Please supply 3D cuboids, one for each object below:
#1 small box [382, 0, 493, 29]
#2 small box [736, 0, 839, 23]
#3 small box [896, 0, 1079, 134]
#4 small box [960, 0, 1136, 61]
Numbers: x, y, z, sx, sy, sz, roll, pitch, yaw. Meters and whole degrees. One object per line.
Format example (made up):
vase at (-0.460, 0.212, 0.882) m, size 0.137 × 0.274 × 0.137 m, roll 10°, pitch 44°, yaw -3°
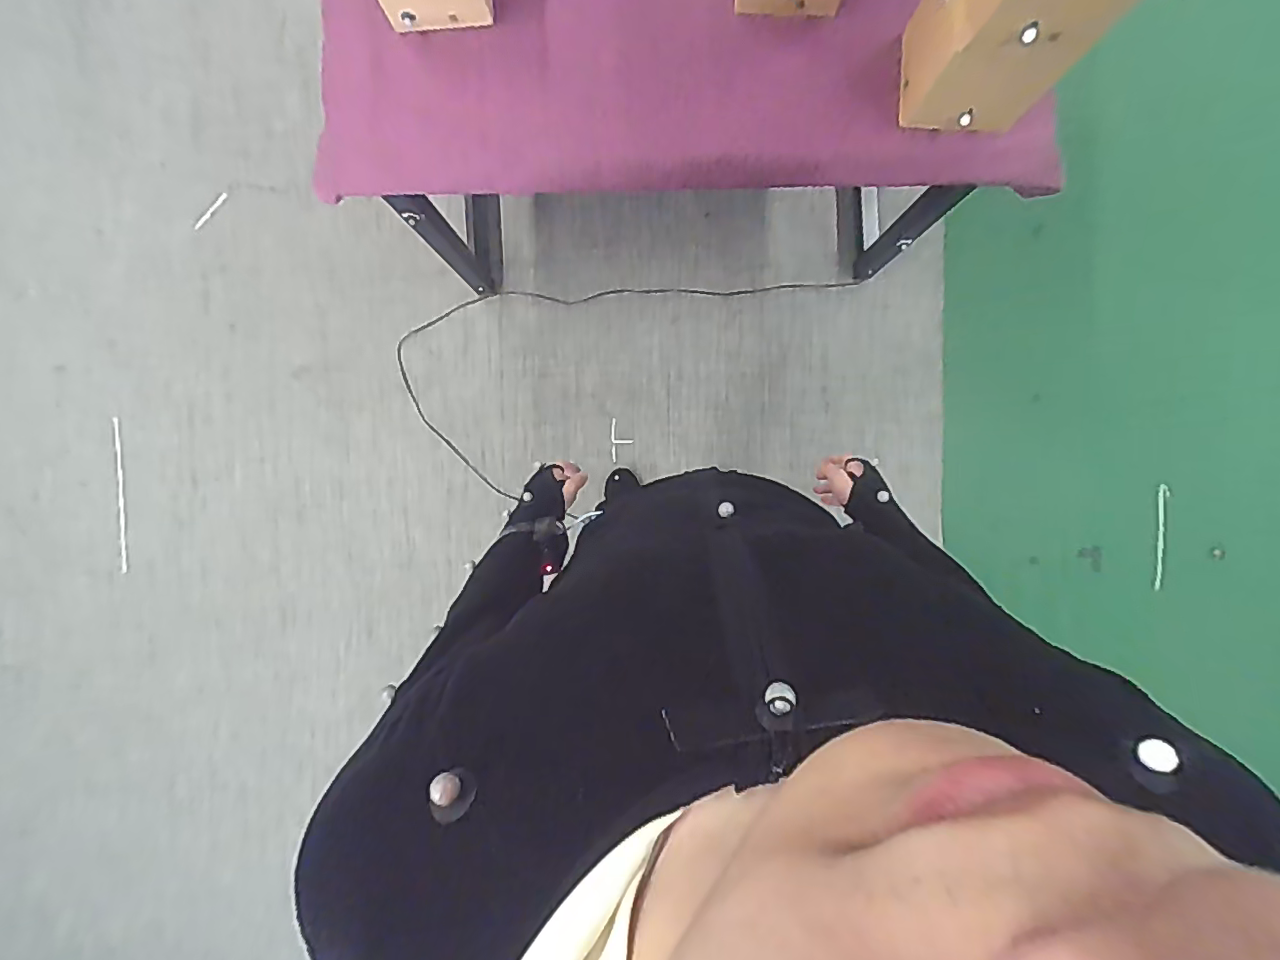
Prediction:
small box at (-0.328, -0.830, 0.820) m, size 0.168 × 0.176 × 0.179 m, roll -4°, pitch 90°, yaw 0°
small box at (0.241, -0.849, 0.814) m, size 0.168 × 0.176 × 0.179 m, roll 3°, pitch 91°, yaw 1°
small box at (0.514, -0.653, 0.812) m, size 0.179 × 0.176 × 0.168 m, roll 3°, pitch 90°, yaw 1°
small box at (0.513, -0.655, 0.649) m, size 0.168 × 0.176 × 0.179 m, roll 3°, pitch 91°, yaw 3°
